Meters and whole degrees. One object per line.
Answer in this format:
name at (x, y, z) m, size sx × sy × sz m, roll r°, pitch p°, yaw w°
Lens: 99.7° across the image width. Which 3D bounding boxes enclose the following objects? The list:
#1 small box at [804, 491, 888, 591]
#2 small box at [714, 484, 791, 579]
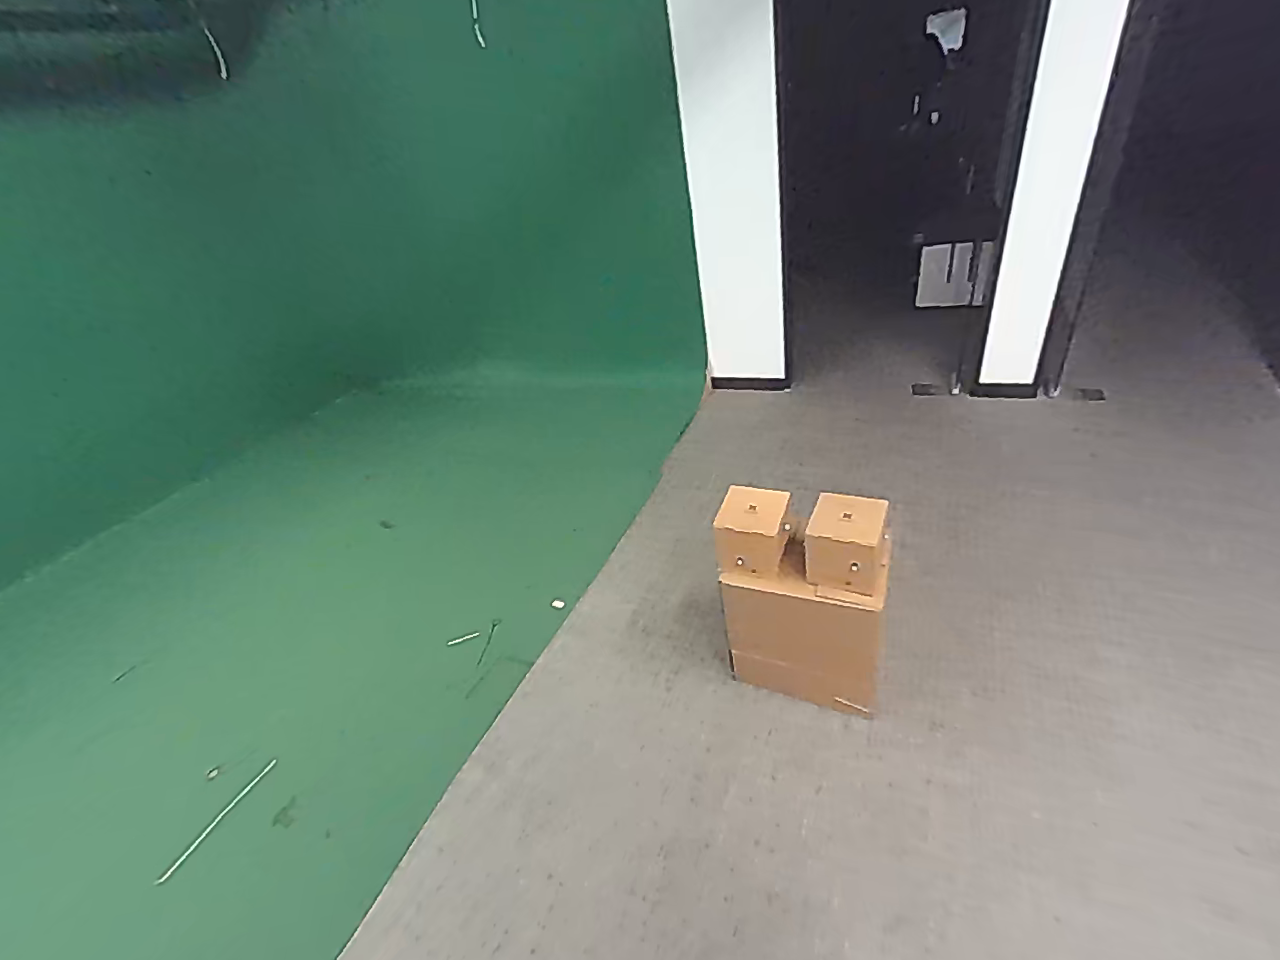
small box at (0.523, 0.154, 1.366) m, size 0.168 × 0.176 × 0.179 m, roll 8°, pitch 39°, yaw 29°
small box at (0.308, 0.137, 1.464) m, size 0.168 × 0.176 × 0.179 m, roll 7°, pitch 41°, yaw 25°
